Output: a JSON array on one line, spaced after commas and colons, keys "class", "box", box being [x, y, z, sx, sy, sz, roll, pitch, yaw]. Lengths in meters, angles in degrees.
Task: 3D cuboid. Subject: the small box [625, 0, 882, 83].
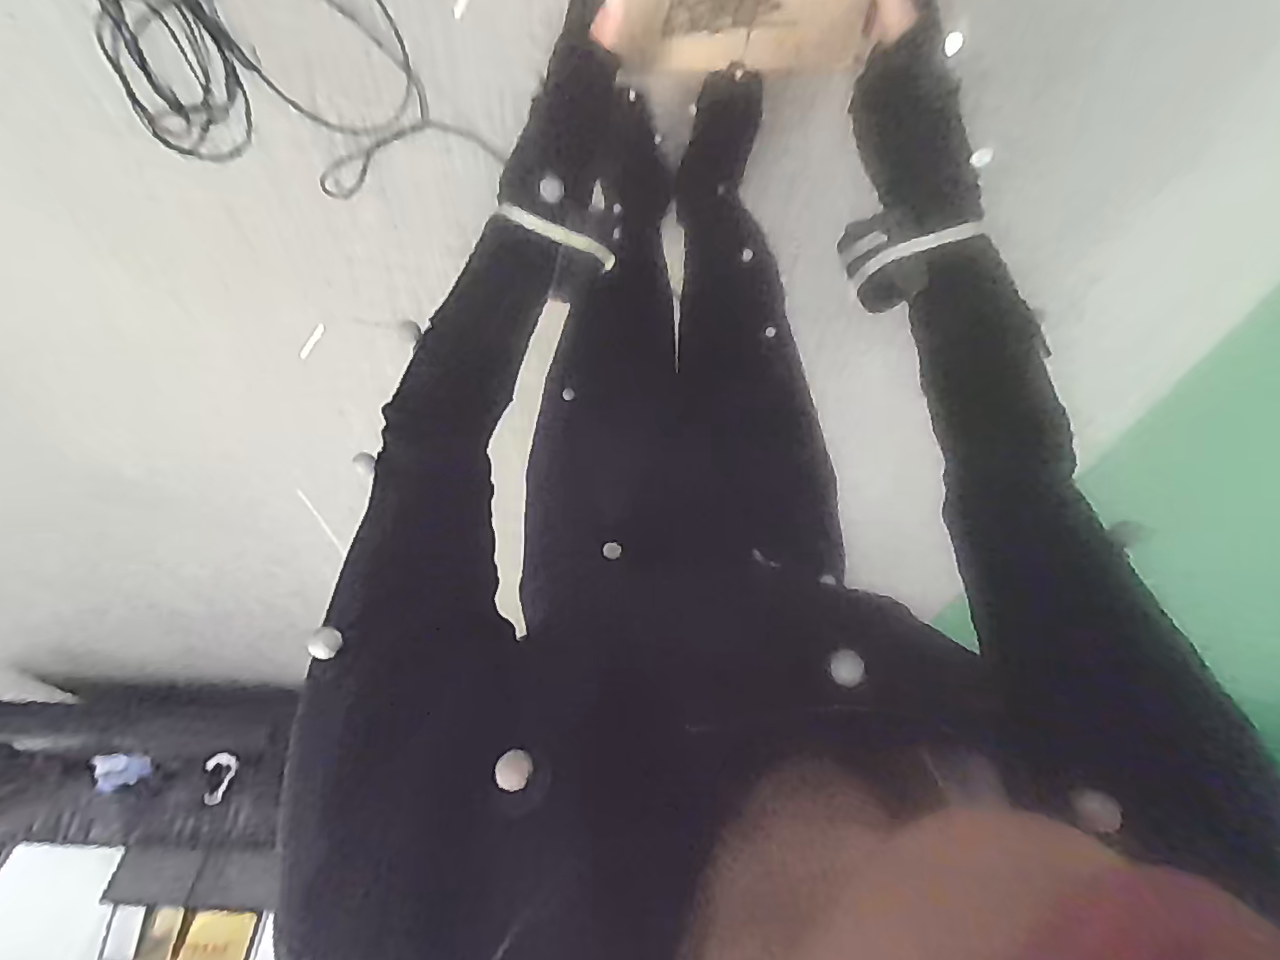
[{"class": "small box", "box": [0.072, -0.394, 0.347, 0.168, 0.176, 0.179, -1, 149, 1]}]
